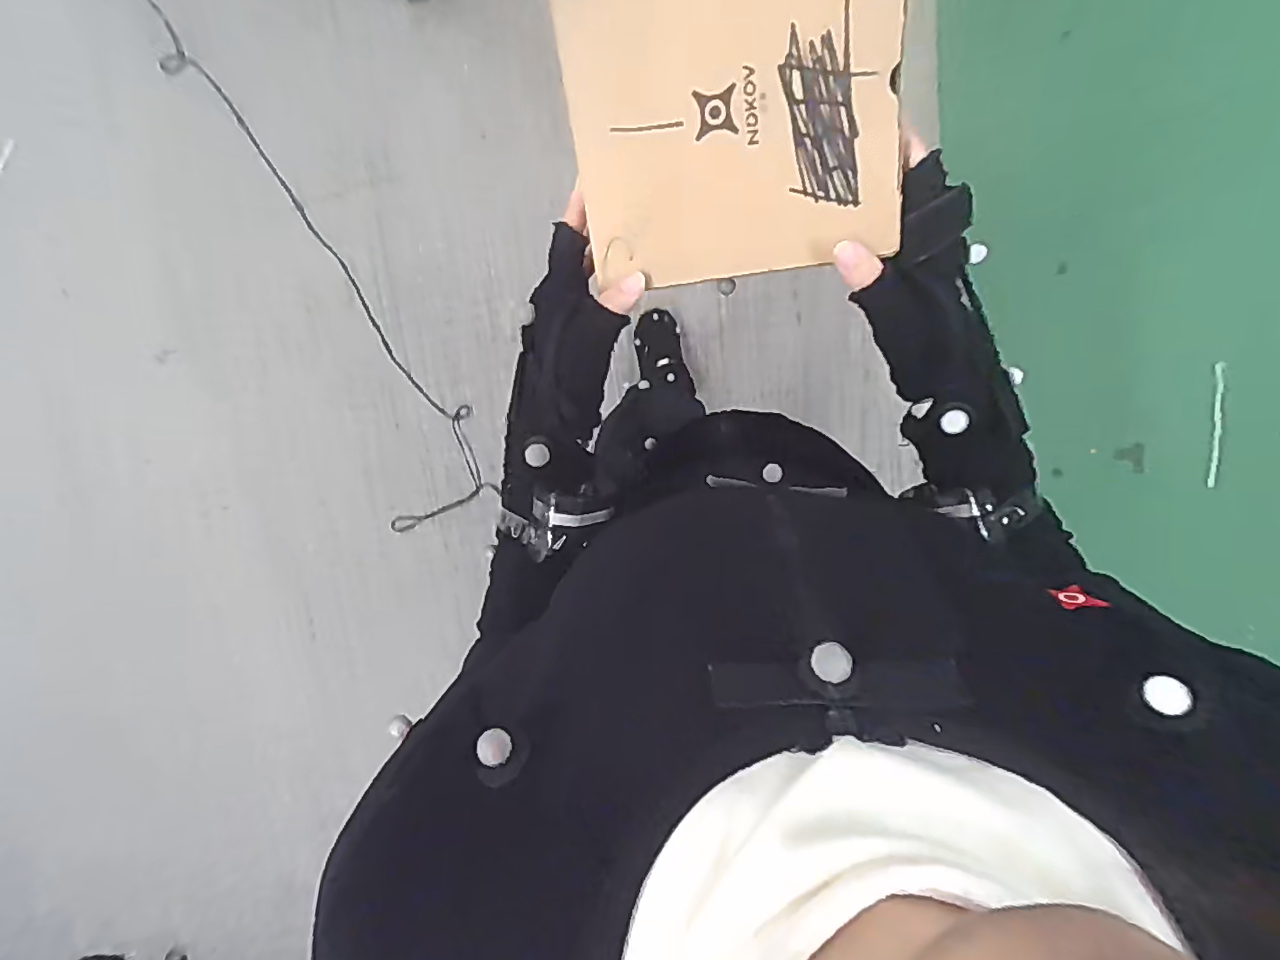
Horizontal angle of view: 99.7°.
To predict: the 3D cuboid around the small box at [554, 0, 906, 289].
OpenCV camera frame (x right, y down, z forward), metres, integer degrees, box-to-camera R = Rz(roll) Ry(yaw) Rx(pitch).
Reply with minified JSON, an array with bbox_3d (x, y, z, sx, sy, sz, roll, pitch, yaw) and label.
[{"bbox_3d":[0.058,-0.231,0.361,0.179,0.176,0.168,-4,114,10],"label":"small box"}]
